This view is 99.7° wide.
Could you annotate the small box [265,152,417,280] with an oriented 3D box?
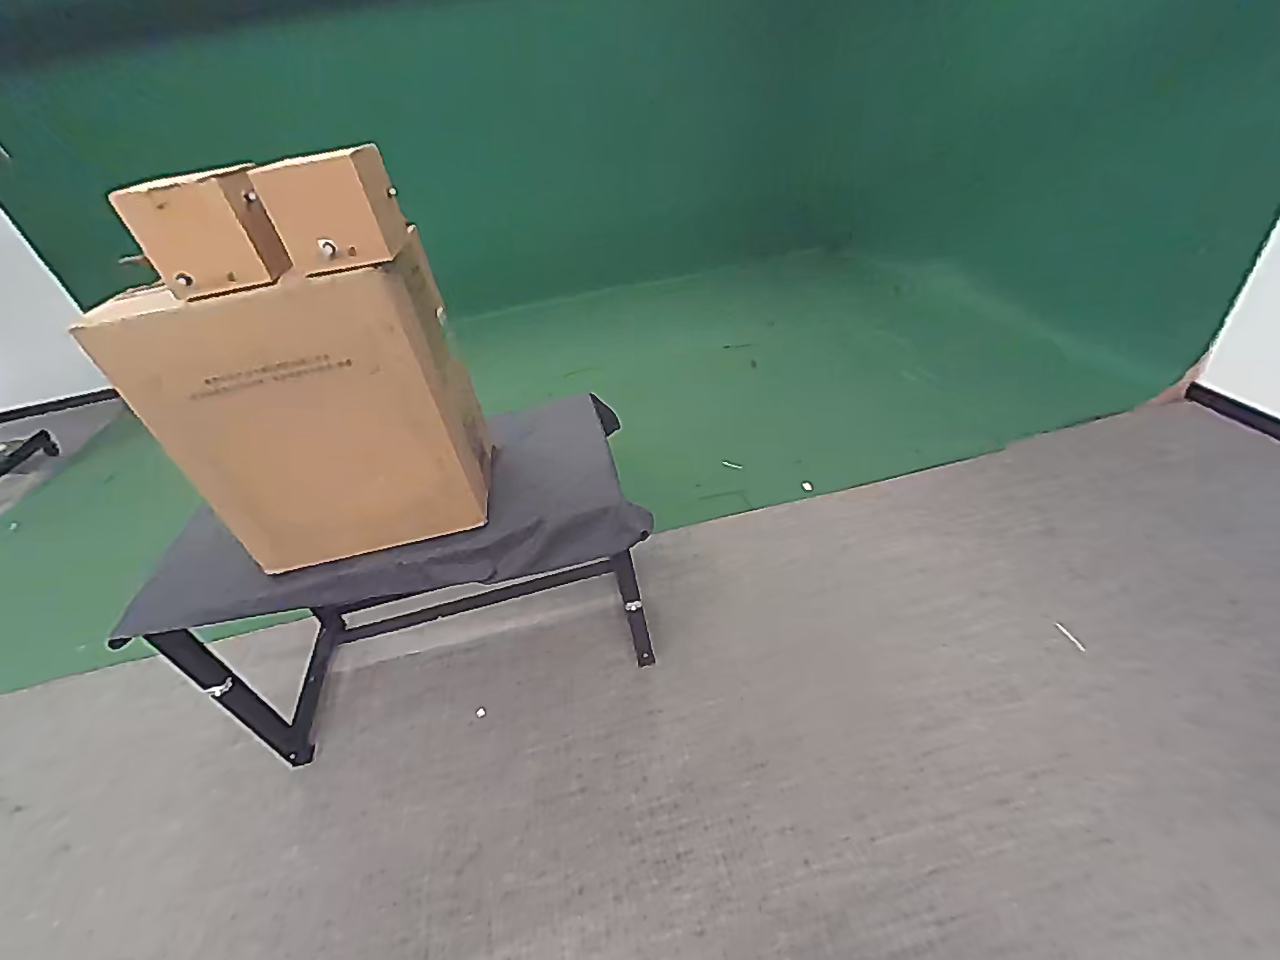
[{"bbox_3d":[-0.525,-0.480,0.983,0.168,0.176,0.179,-12,38,-2],"label":"small box"}]
